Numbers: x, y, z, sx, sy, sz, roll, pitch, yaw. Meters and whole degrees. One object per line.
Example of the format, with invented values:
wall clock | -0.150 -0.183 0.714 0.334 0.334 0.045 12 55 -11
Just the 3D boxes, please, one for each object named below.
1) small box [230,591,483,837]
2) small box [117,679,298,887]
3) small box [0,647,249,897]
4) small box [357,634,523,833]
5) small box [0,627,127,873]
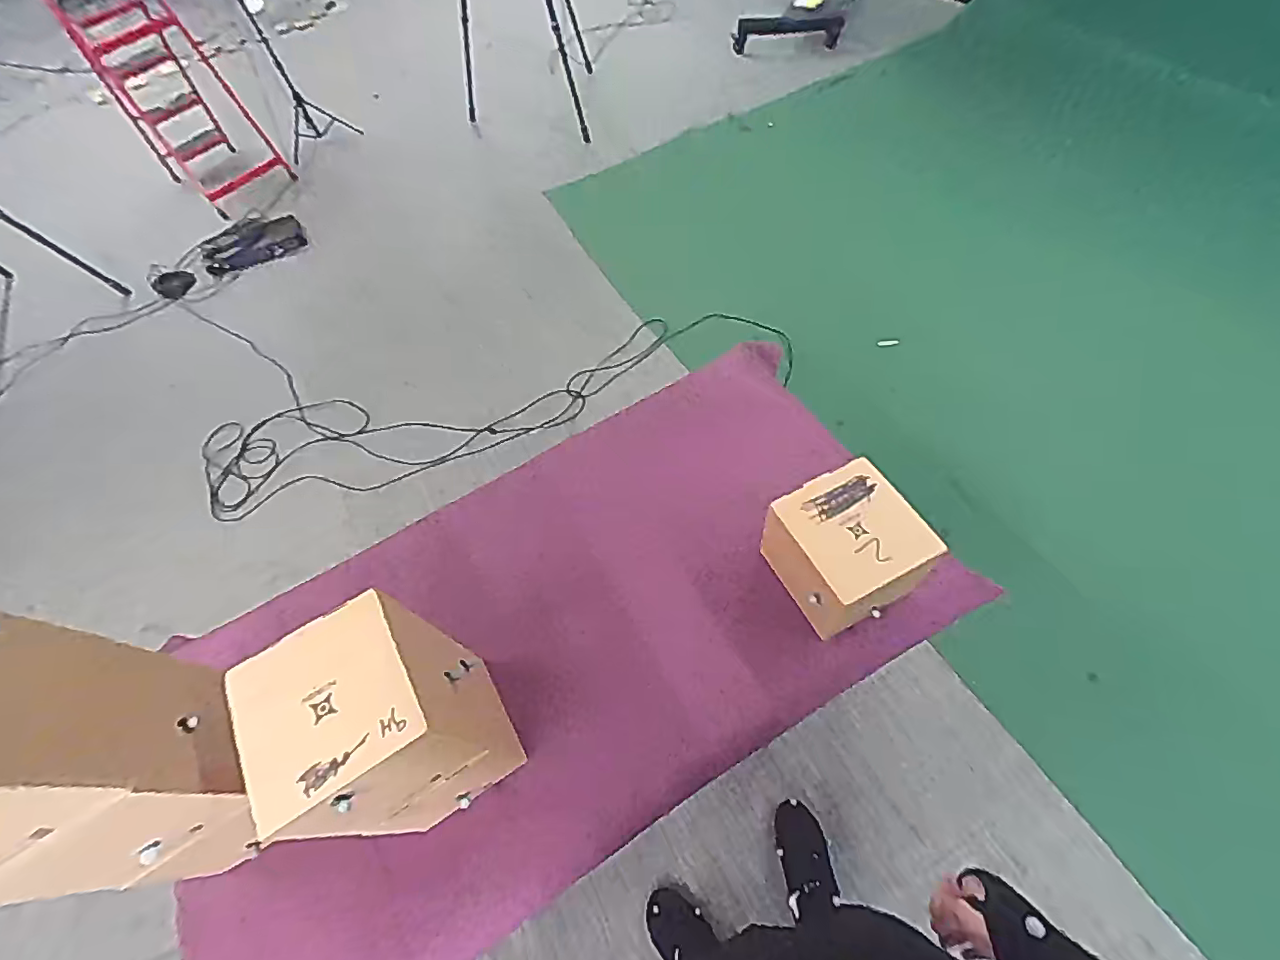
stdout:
small box | -0.303 0.261 0.600 0.168 0.176 0.179 -32 60 -11
small box | -0.560 0.405 0.738 0.168 0.176 0.179 -32 62 -12
small box | -0.577 0.321 0.599 0.168 0.176 0.179 -33 62 -12
small box | -0.285 0.347 0.739 0.168 0.176 0.179 -31 61 -11
small box | -0.594 0.239 0.460 0.168 0.176 0.179 -33 61 -12
